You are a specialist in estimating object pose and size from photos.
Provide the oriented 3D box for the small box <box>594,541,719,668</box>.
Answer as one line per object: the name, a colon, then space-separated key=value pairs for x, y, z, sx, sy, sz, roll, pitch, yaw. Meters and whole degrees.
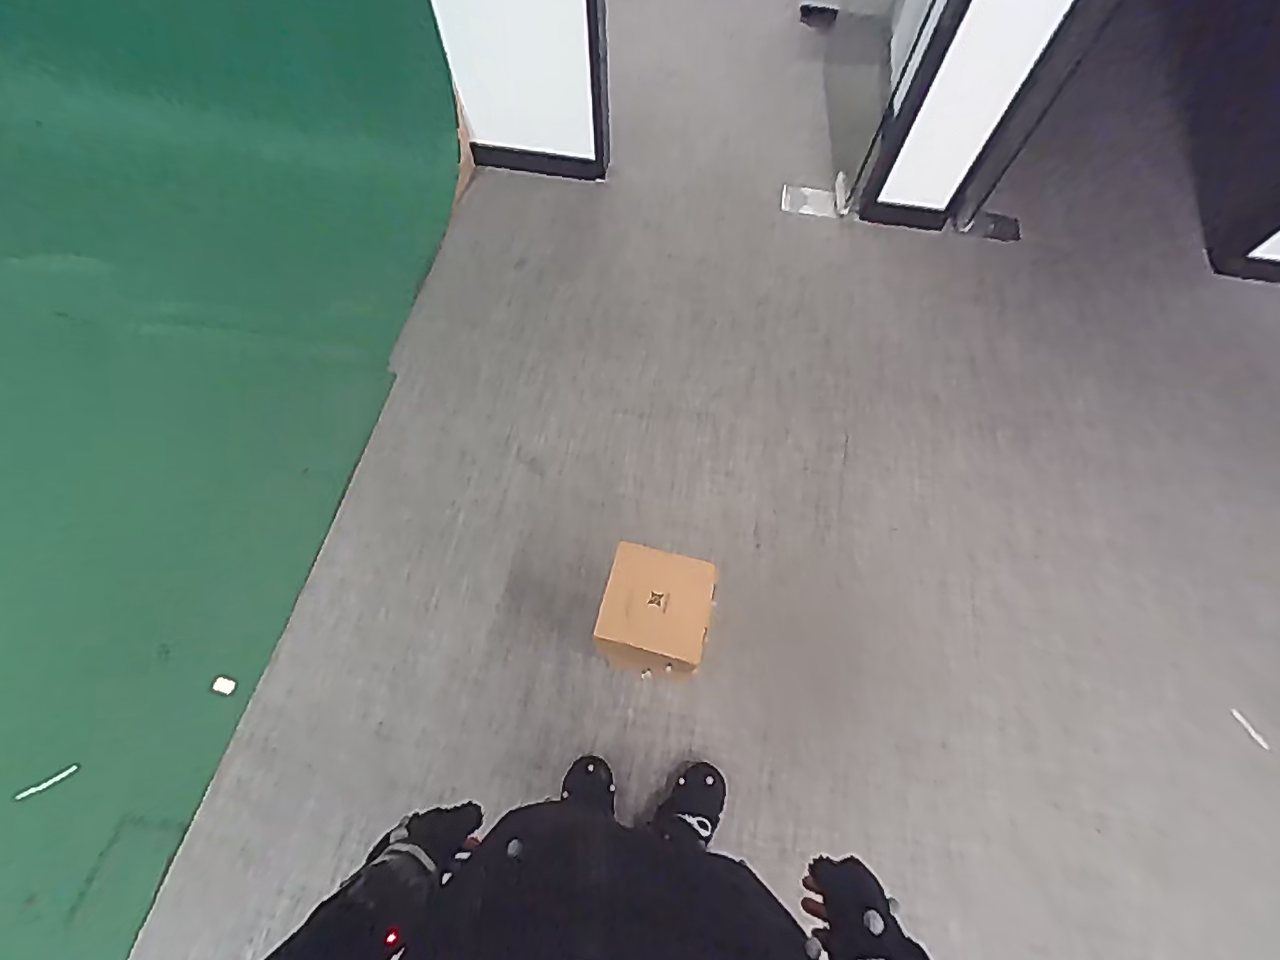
small box: x=0.030 y=0.226 z=0.954 sx=0.179 sy=0.176 sz=0.168 roll=12 pitch=66 yaw=7

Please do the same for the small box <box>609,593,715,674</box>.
small box: x=0.042 y=0.292 z=1.103 sx=0.179 sy=0.176 sz=0.168 roll=14 pitch=67 yaw=5

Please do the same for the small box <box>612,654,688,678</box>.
small box: x=0.041 y=0.352 z=1.252 sx=0.179 sy=0.176 sz=0.168 roll=15 pitch=65 yaw=6
